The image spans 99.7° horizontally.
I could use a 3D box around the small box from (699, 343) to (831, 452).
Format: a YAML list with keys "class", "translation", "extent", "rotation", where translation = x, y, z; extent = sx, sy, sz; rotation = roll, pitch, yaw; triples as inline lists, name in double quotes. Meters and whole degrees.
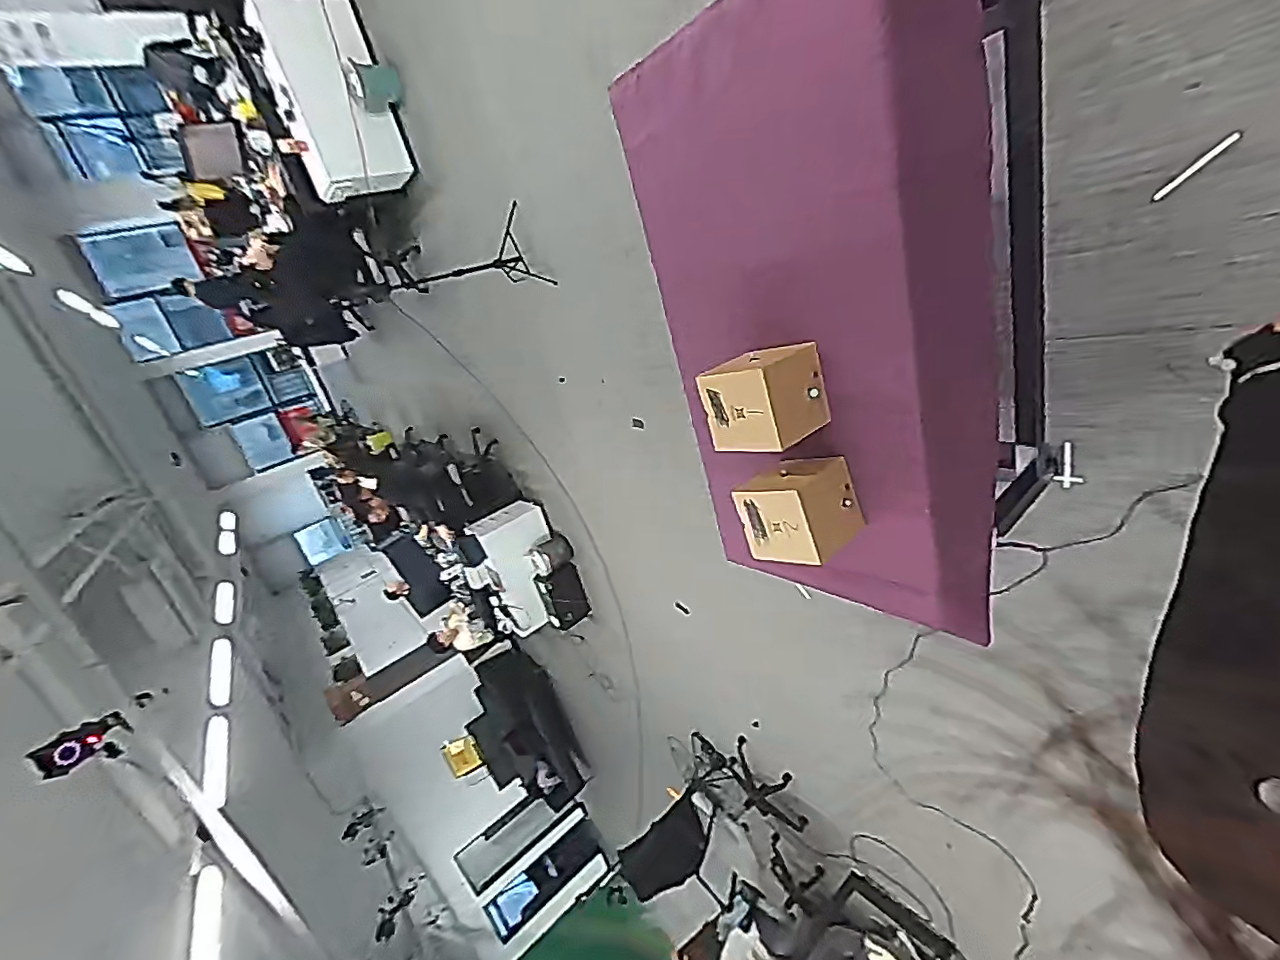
- class: "small box"
  translation: [0.253, -0.167, 1.094]
  extent: [0.179, 0.176, 0.168]
  rotation: [6, 120, 54]
